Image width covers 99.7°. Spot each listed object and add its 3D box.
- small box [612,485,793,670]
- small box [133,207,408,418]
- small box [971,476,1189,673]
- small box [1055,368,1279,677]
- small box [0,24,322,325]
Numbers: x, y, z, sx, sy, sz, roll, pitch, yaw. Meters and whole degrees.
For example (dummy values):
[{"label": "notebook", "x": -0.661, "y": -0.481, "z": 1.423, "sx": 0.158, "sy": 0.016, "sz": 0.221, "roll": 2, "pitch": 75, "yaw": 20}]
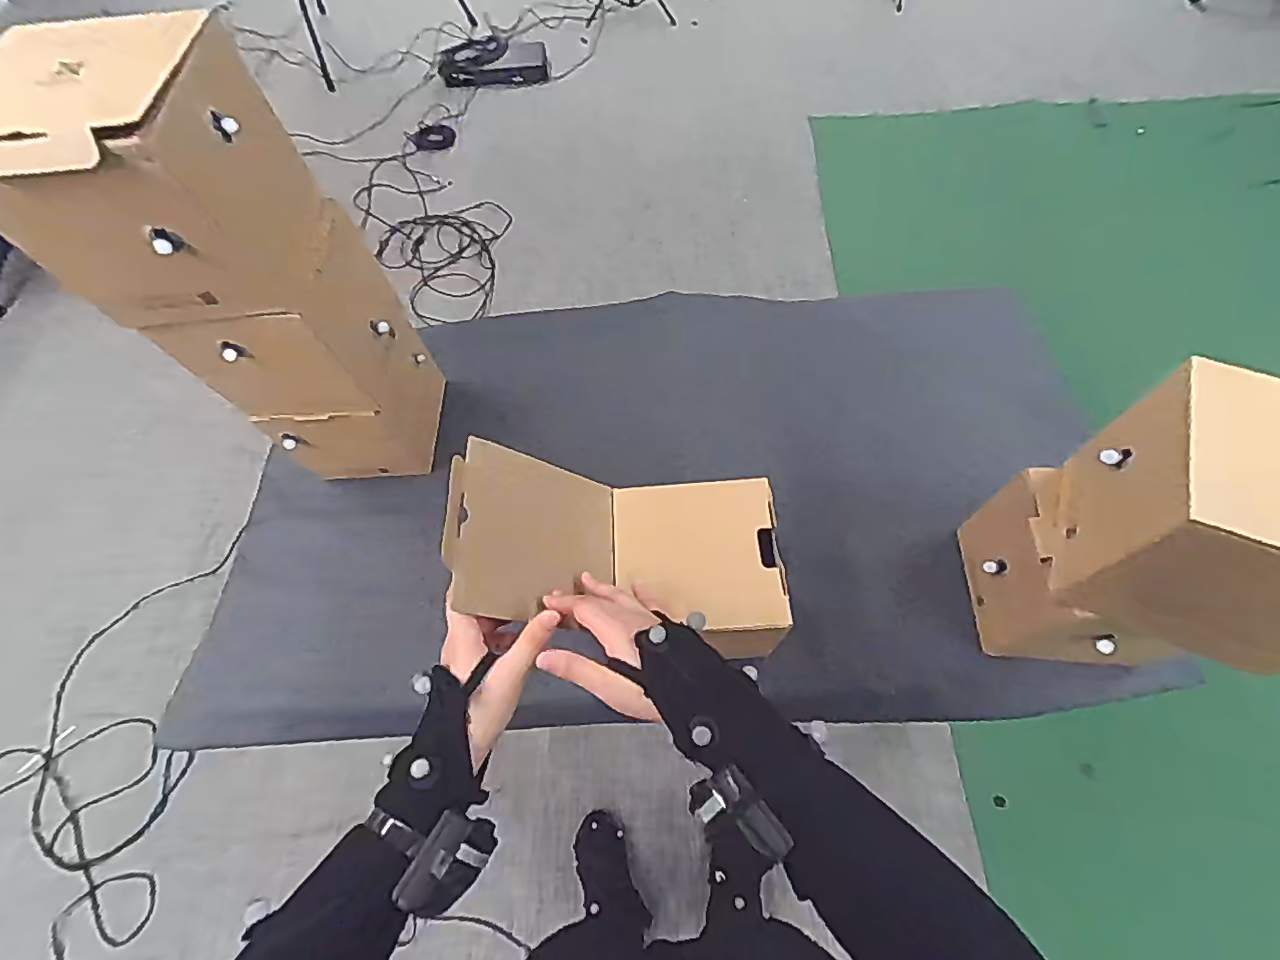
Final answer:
[{"label": "small box", "x": 0.064, "y": 0.120, "z": 0.625, "sx": 0.179, "sy": 0.176, "sz": 0.168, "roll": -5, "pitch": 62, "yaw": 4}, {"label": "small box", "x": -0.400, "y": -0.183, "z": 0.623, "sx": 0.179, "sy": 0.176, "sz": 0.168, "roll": -2, "pitch": 64, "yaw": 2}, {"label": "small box", "x": 0.496, "y": 0.110, "z": 0.598, "sx": 0.179, "sy": 0.176, "sz": 0.168, "roll": 2, "pitch": 60, "yaw": 6}, {"label": "small box", "x": 0.490, "y": 0.043, "z": 0.448, "sx": 0.179, "sy": 0.176, "sz": 0.168, "roll": 22, "pitch": 64, "yaw": 15}, {"label": "small box", "x": -0.416, "y": -0.255, "z": 0.479, "sx": 0.168, "sy": 0.176, "sz": 0.179, "roll": -5, "pitch": 62, "yaw": 0}]
